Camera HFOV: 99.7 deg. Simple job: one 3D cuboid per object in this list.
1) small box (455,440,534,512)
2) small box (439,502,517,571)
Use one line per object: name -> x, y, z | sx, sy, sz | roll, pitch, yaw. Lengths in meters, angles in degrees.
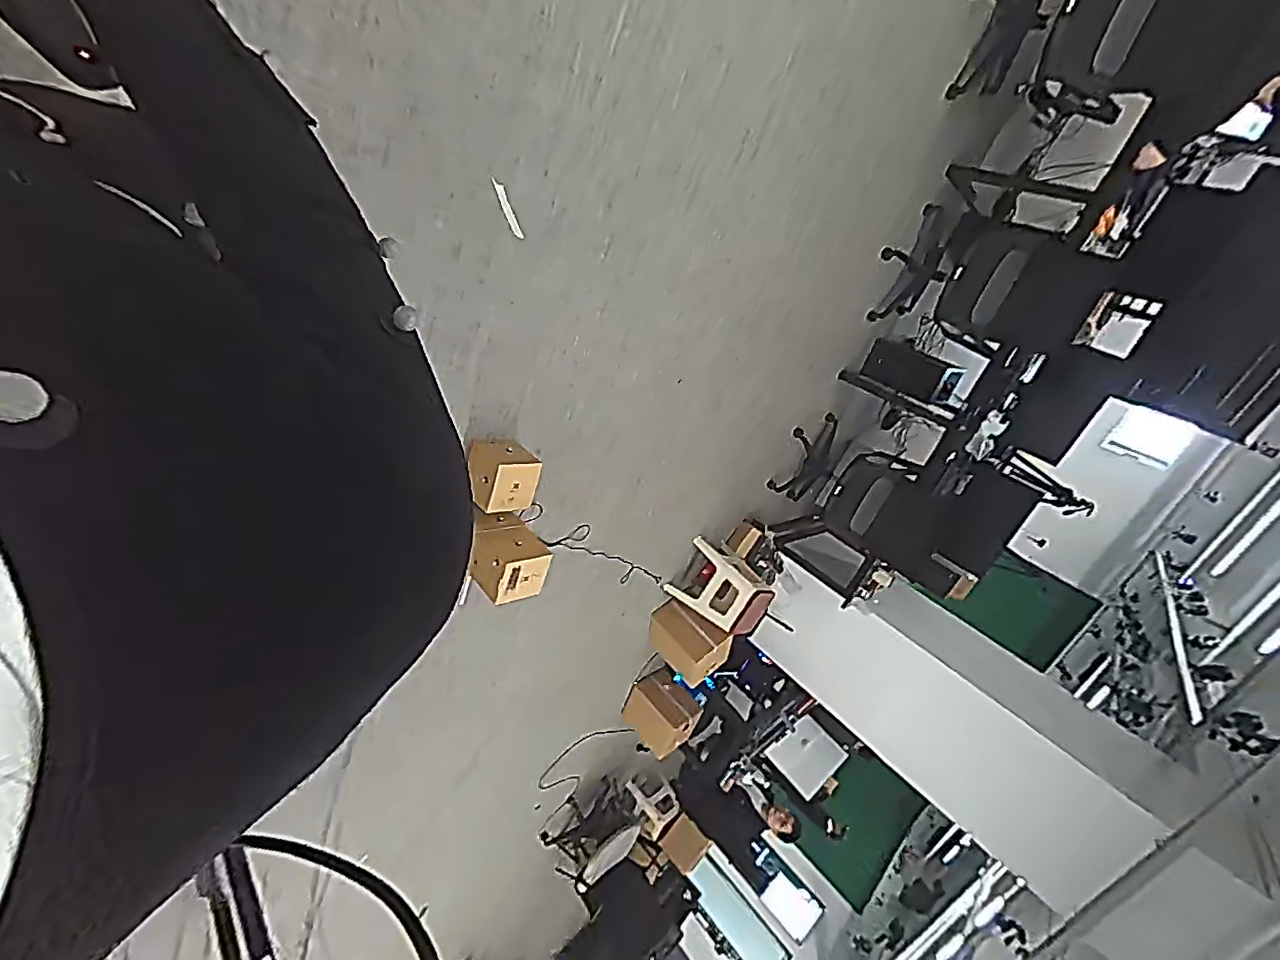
small box -> -0.473, -0.018, 1.741 | 0.168, 0.176, 0.179 | -4, 122, -48
small box -> -0.550, 0.181, 1.831 | 0.179, 0.176, 0.168 | -6, 124, -47
